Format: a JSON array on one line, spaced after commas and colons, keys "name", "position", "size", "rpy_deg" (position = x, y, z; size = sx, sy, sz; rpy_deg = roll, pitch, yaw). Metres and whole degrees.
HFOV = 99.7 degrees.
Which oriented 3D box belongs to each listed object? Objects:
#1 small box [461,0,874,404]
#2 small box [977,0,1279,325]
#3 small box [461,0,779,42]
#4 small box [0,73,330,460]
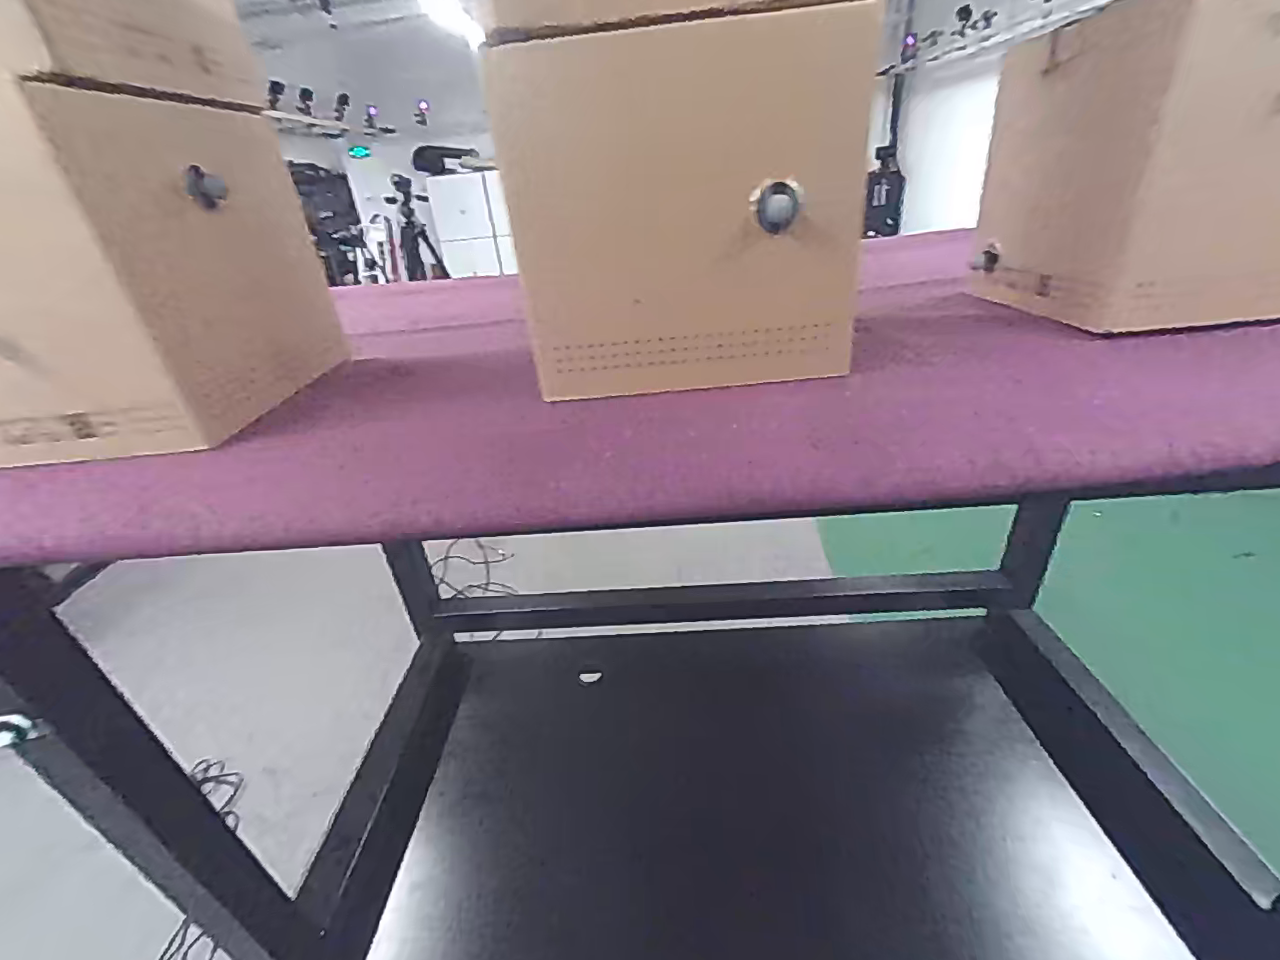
[{"name": "small box", "position": [0.018, -0.158, 0.332], "size": [0.179, 0.176, 0.168], "rpy_deg": [-6, 29, 2]}, {"name": "small box", "position": [0.338, -0.198, 0.334], "size": [0.179, 0.176, 0.168], "rpy_deg": [-4, 28, 5]}, {"name": "small box", "position": [0.000, -0.300, 0.255], "size": [0.179, 0.176, 0.168], "rpy_deg": [-6, 29, 1]}, {"name": "small box", "position": [-0.323, -0.120, 0.322], "size": [0.168, 0.176, 0.179], "rpy_deg": [-4, 30, 1]}]
